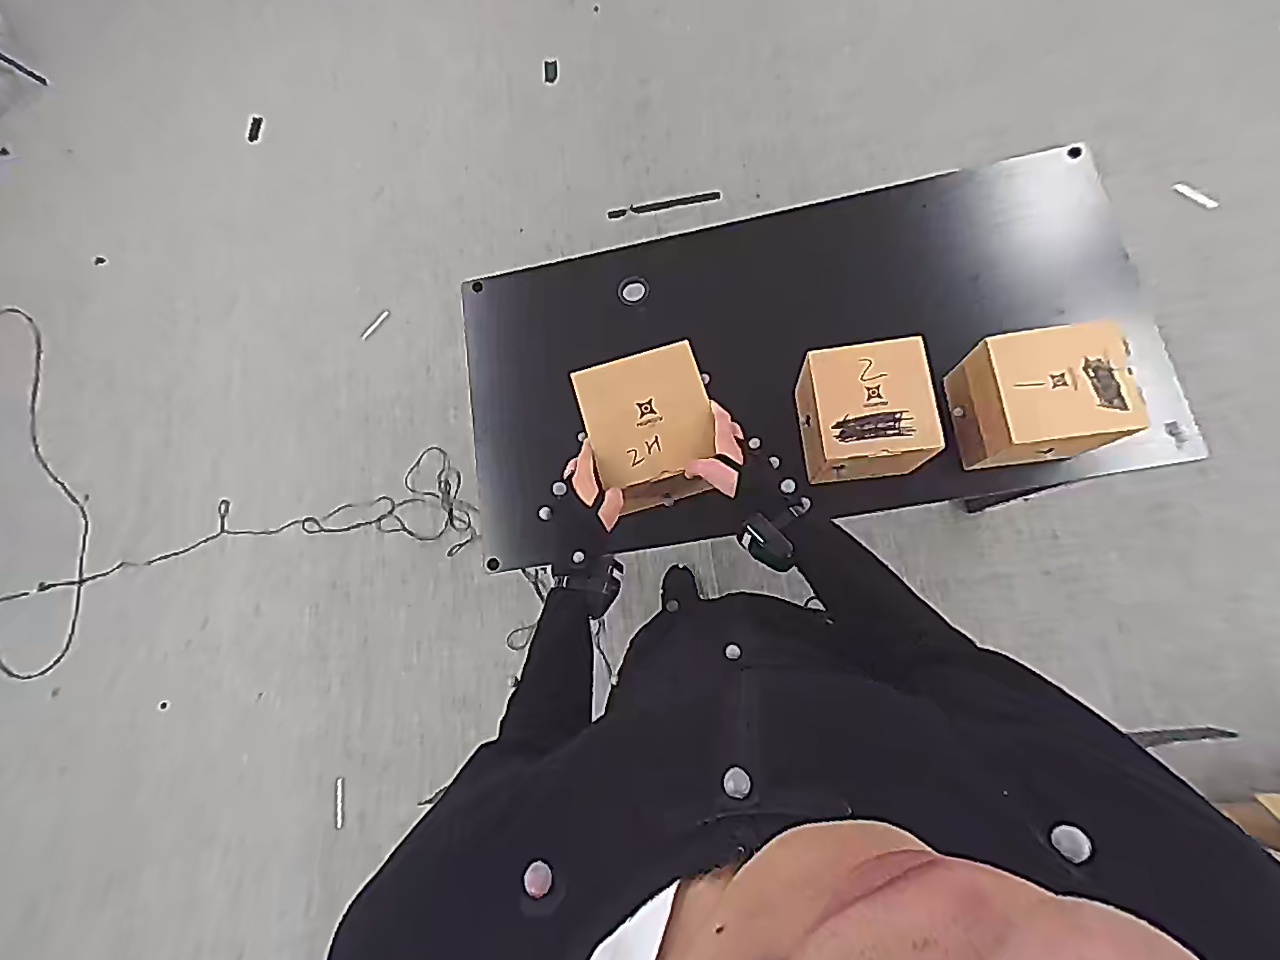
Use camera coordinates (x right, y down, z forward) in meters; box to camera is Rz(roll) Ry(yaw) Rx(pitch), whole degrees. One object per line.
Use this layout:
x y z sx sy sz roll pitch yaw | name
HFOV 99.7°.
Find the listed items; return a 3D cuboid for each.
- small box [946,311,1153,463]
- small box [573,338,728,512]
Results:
0.601 -0.130 0.821 0.179 0.176 0.168 -8 77 9 | small box
0.014 -0.069 0.772 0.168 0.176 0.179 -17 77 0 | small box
